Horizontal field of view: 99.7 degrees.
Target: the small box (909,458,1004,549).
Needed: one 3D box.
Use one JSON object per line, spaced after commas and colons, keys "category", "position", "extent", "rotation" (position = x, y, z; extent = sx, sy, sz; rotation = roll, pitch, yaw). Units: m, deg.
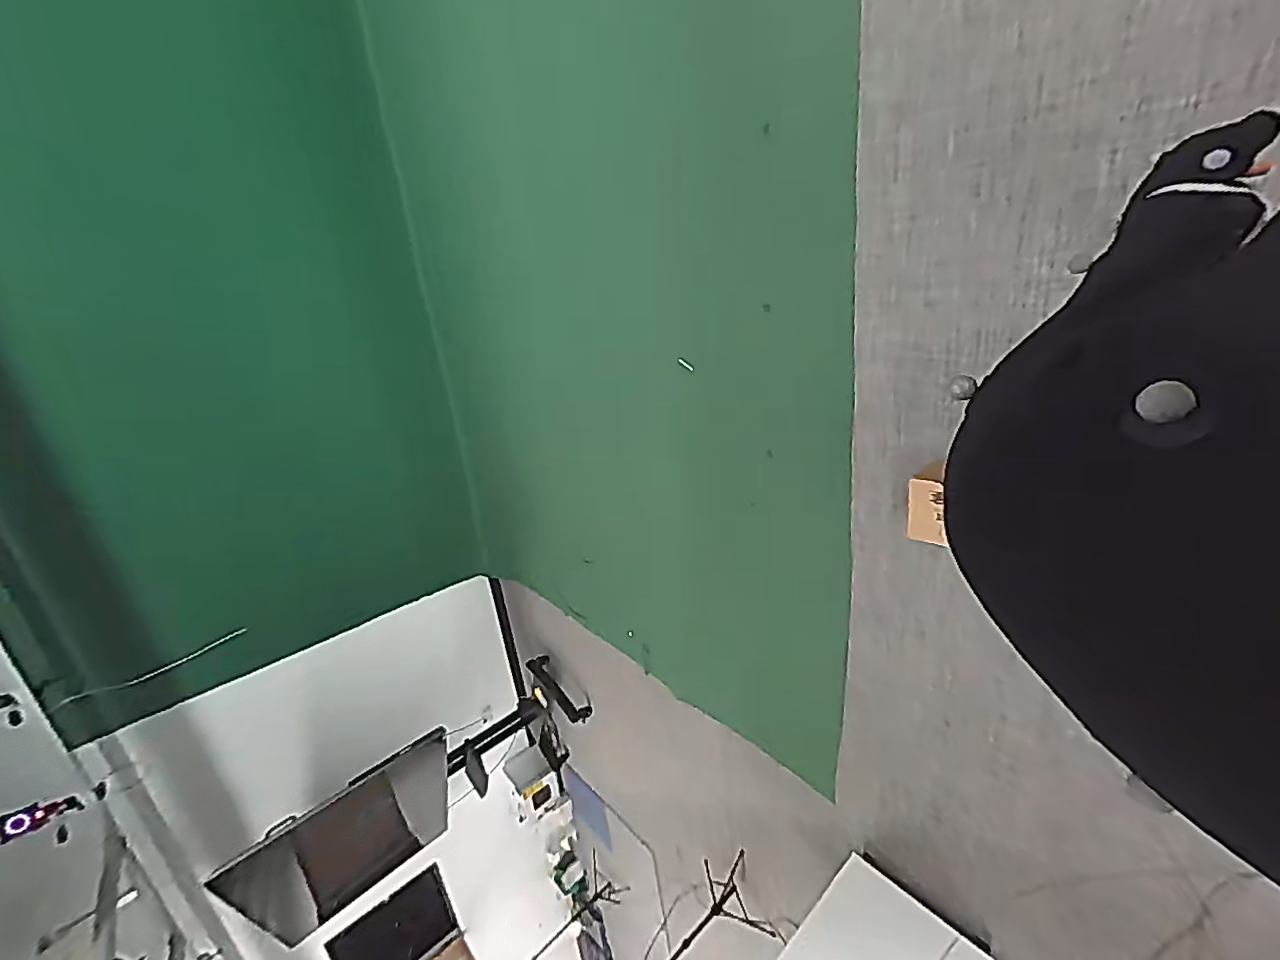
{"category": "small box", "position": [0.823, 0.053, 1.405], "extent": [0.168, 0.176, 0.179], "rotation": [15, 119, 49]}
